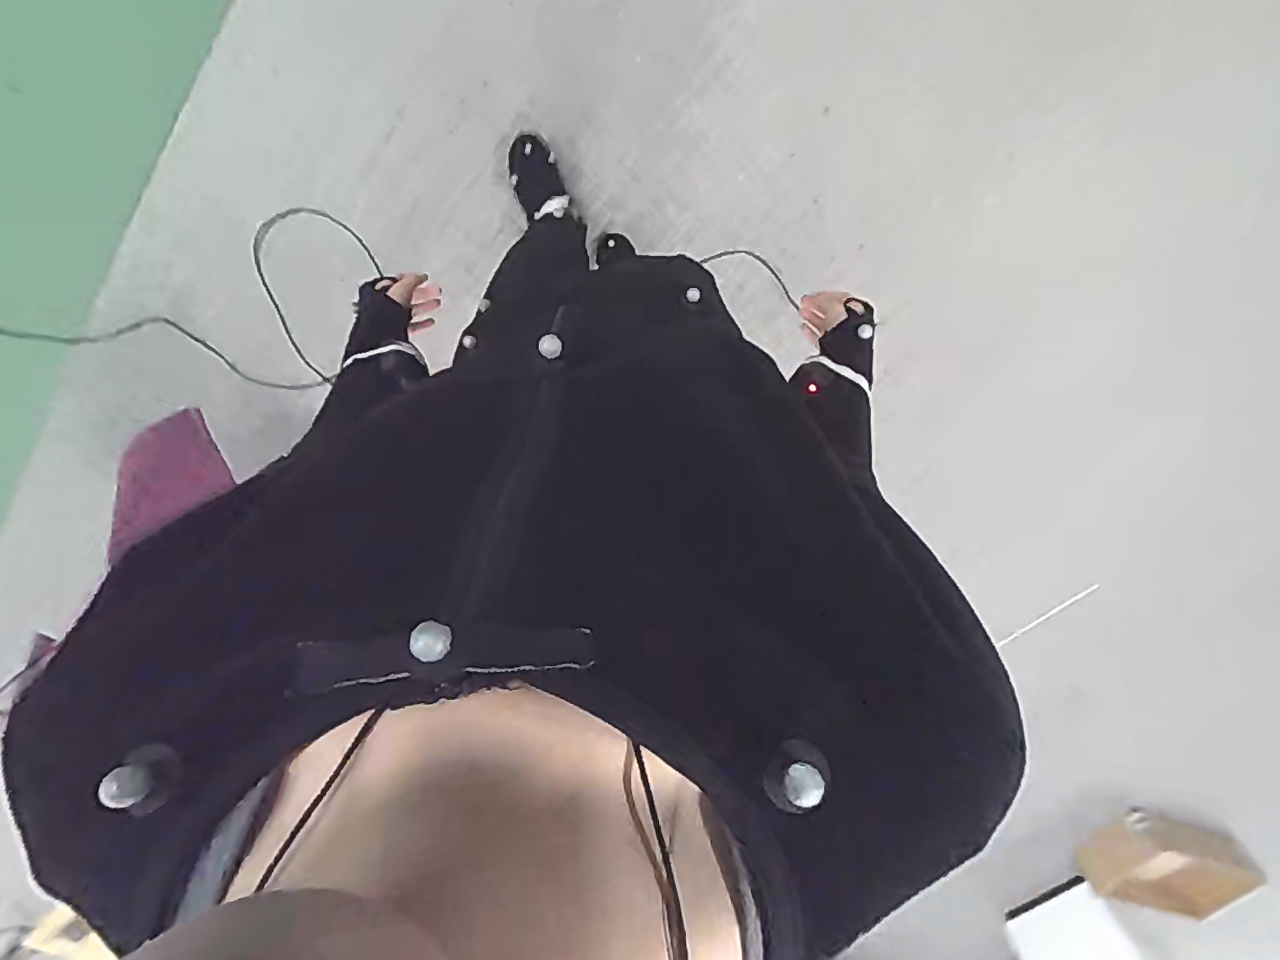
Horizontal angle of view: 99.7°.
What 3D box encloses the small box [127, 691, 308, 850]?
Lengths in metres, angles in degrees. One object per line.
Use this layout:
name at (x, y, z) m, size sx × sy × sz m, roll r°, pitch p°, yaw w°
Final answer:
small box at (-0.741, 0.516, 0.972) m, size 0.179 × 0.176 × 0.168 m, roll -41°, pitch 111°, yaw 20°
